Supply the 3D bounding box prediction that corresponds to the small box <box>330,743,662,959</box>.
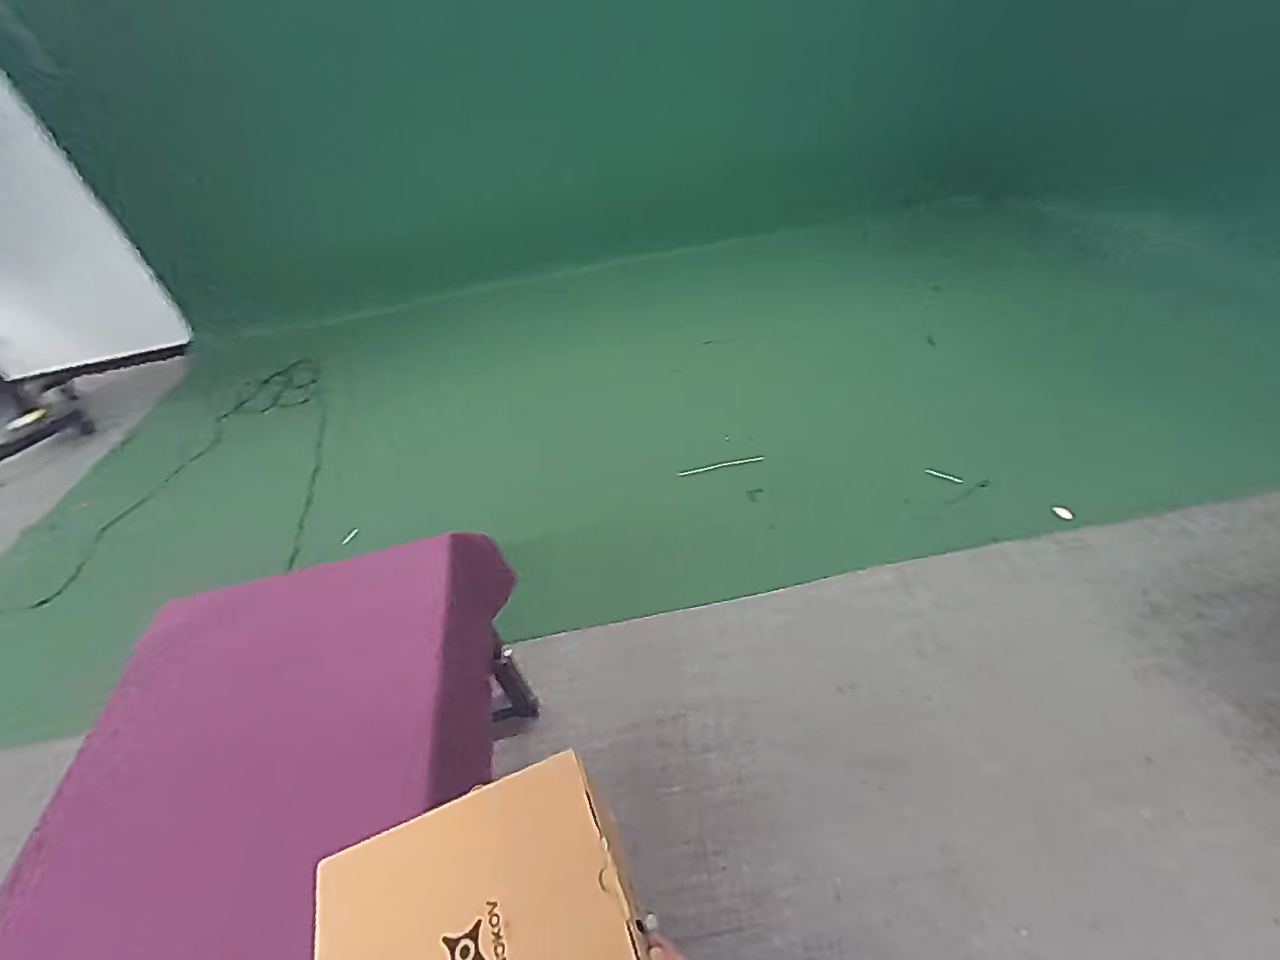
[{"bbox_3d":[-0.082,0.321,0.367,0.179,0.176,0.168,-18,45,-12],"label":"small box"}]
